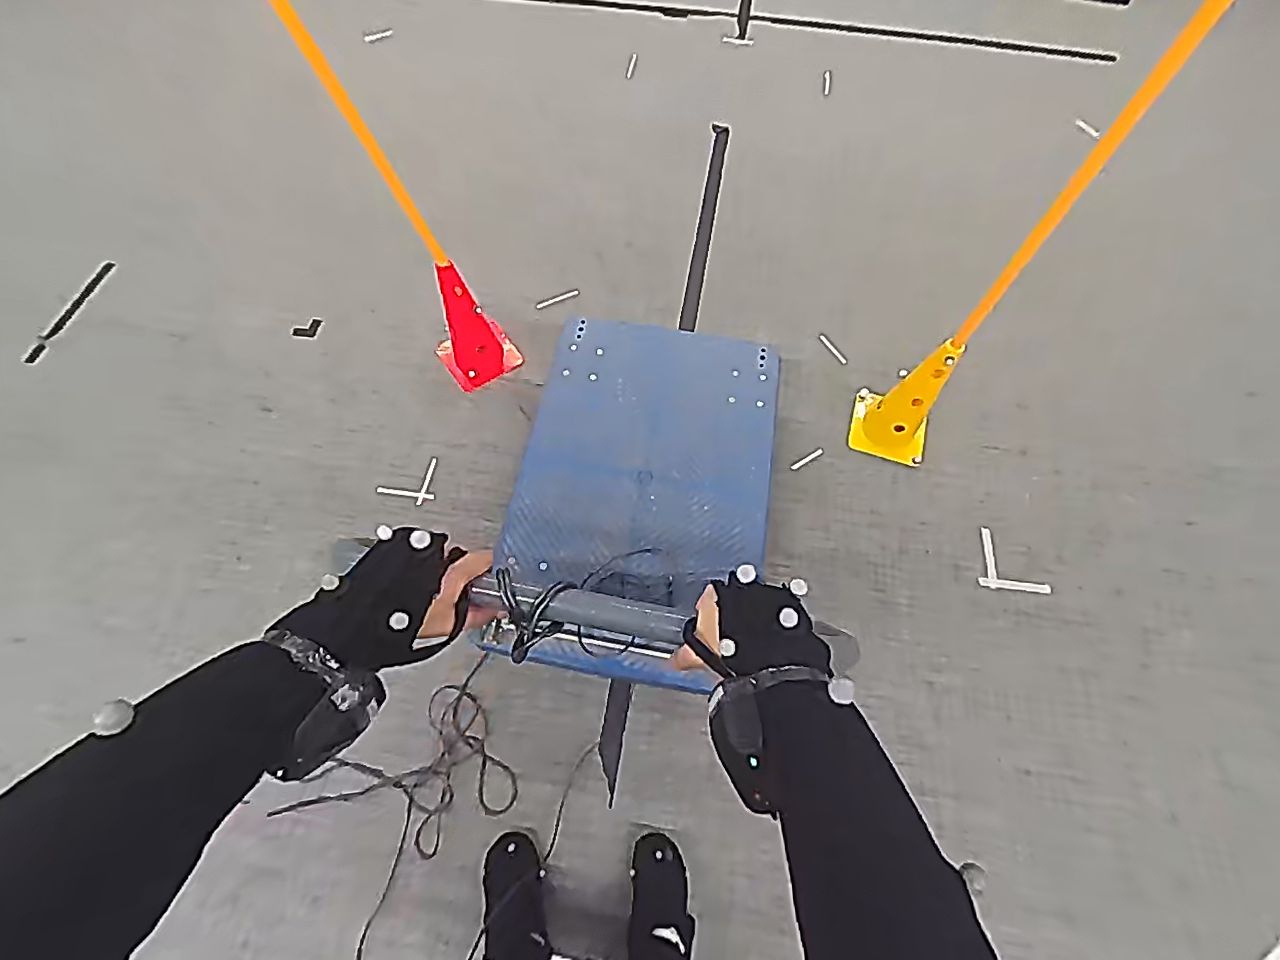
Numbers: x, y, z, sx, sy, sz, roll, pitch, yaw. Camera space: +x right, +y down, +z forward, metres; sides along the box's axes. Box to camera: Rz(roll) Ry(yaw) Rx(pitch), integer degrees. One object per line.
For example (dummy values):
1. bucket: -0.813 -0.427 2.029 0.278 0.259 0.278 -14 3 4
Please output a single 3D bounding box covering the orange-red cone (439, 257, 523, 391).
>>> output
1. orange-red cone: -0.459 -0.439 1.432 0.199 0.360 0.198 -31 70 -16
